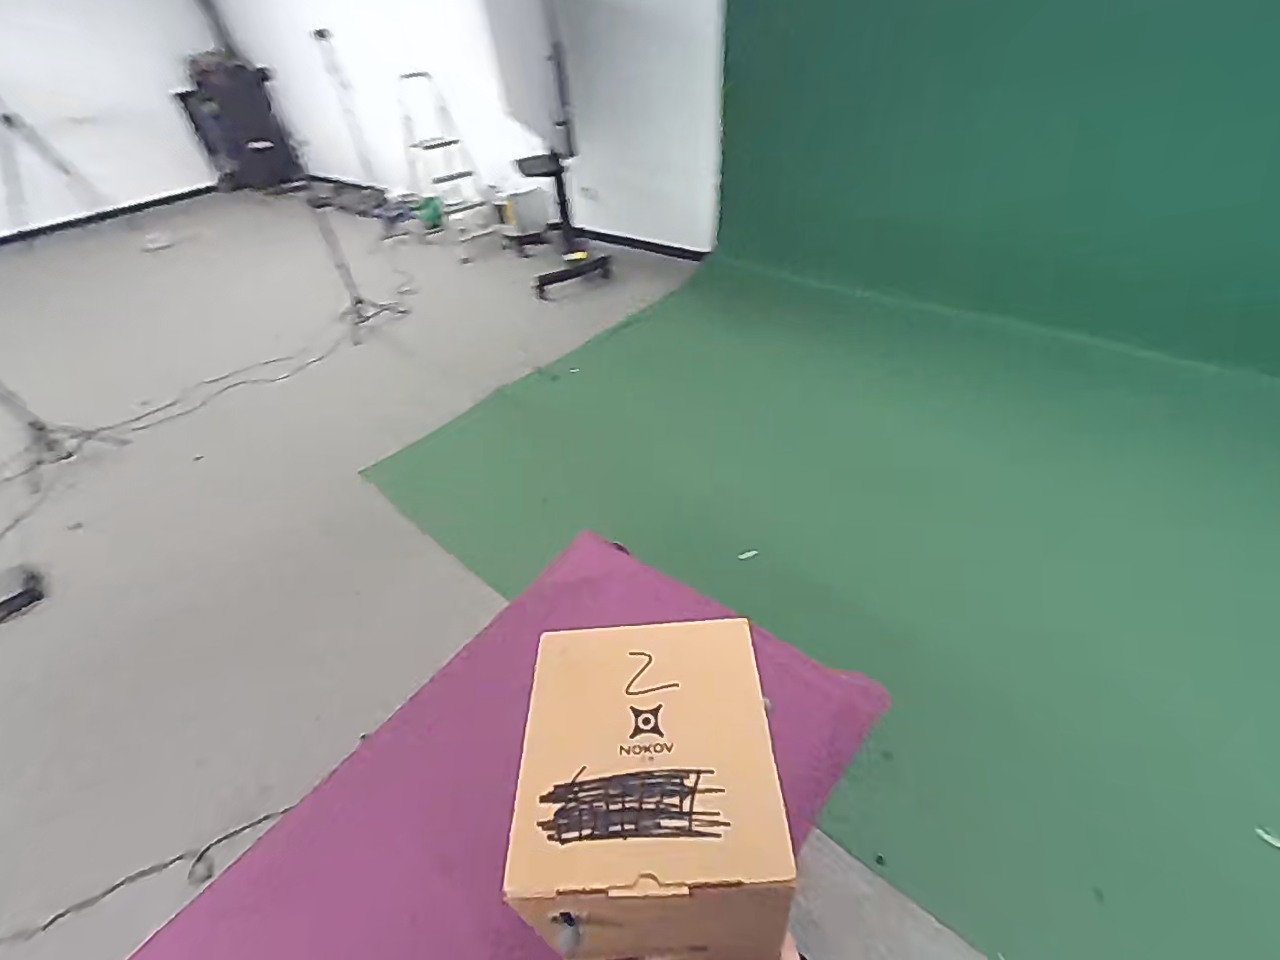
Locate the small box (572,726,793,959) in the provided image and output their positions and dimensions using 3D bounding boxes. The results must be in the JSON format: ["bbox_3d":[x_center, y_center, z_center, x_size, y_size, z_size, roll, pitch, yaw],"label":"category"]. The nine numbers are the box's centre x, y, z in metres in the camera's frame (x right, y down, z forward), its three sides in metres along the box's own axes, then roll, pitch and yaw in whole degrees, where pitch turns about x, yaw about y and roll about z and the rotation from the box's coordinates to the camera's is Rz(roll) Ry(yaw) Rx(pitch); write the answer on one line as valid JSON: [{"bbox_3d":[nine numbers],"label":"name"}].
[{"bbox_3d":[0.034,0.361,0.508,0.168,0.176,0.179,-6,40,1],"label":"small box"}]
